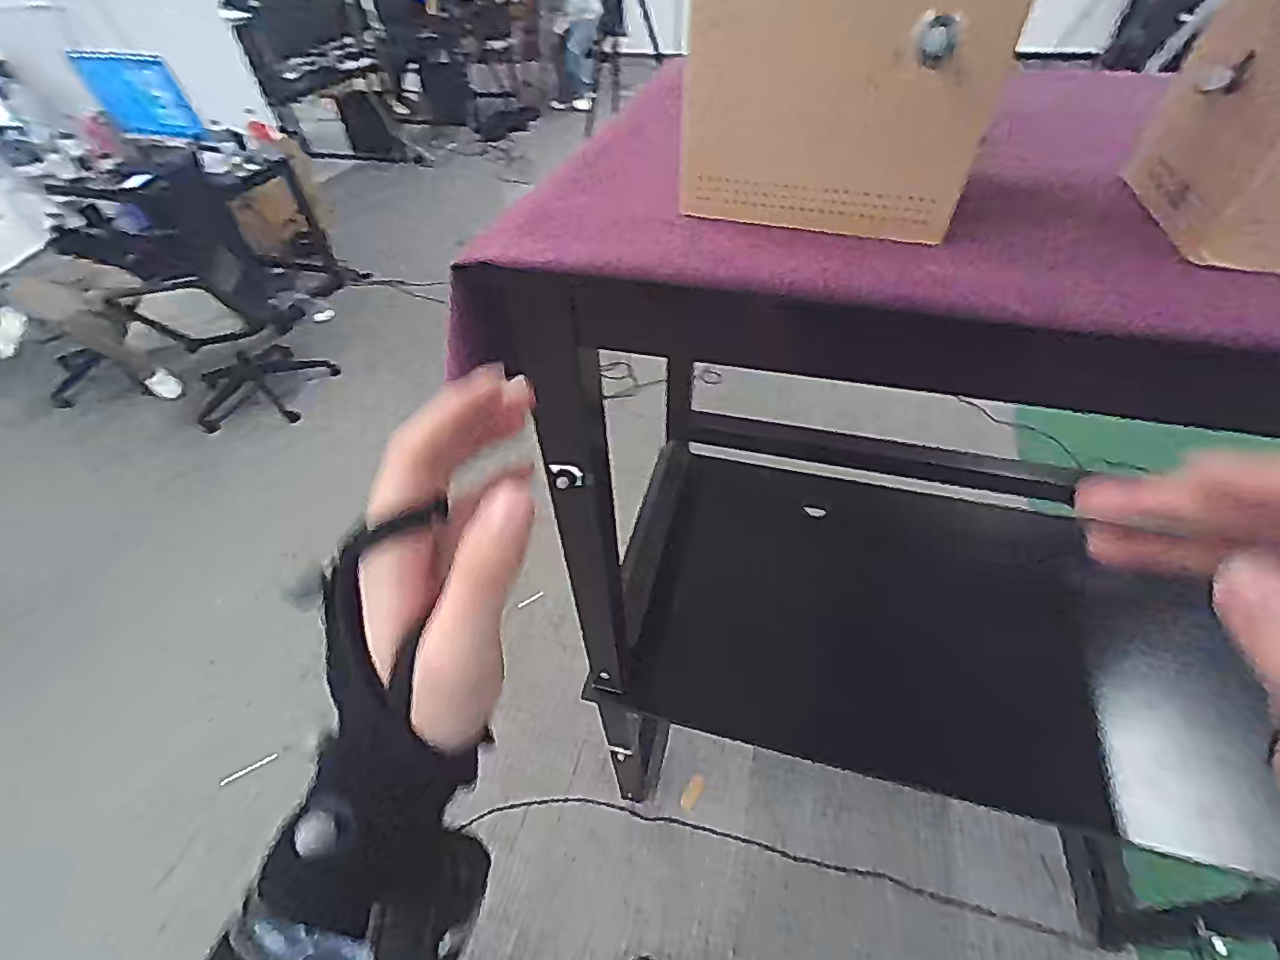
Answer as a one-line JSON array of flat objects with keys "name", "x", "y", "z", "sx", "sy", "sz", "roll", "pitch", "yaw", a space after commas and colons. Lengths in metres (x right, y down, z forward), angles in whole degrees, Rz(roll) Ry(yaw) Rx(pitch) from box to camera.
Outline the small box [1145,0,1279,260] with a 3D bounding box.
[{"name": "small box", "x": 0.422, "y": -0.222, "z": 0.284, "sx": 0.179, "sy": 0.176, "sz": 0.168, "roll": 12, "pitch": 48, "yaw": 15}]
